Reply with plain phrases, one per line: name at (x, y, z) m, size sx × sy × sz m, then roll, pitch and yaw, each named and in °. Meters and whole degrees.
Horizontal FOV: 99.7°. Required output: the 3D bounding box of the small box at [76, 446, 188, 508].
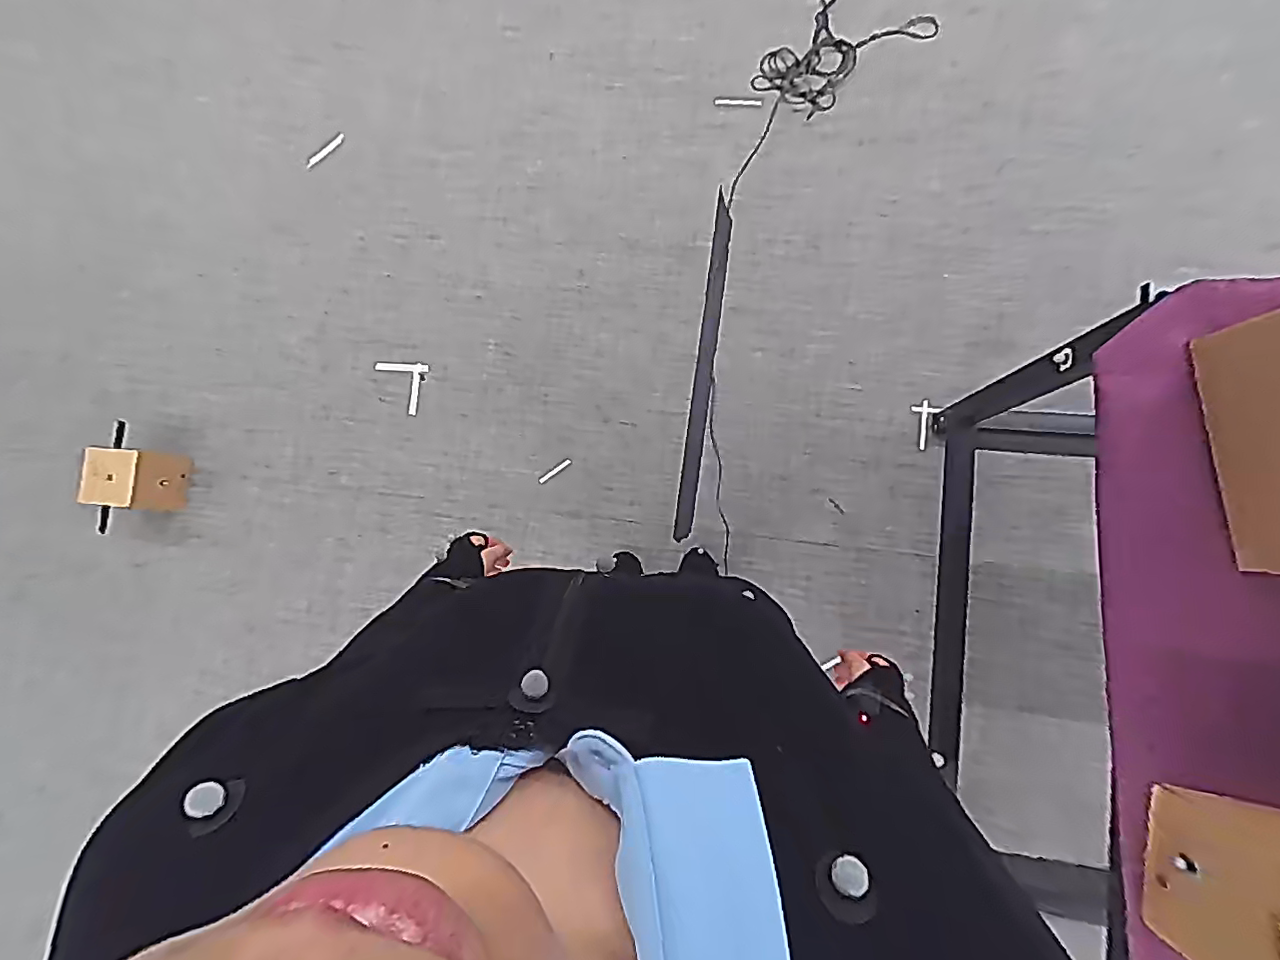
small box at (-1.515, -0.004, 1.623) m, size 0.179 × 0.176 × 0.168 m, roll 4°, pitch 85°, yaw 8°
